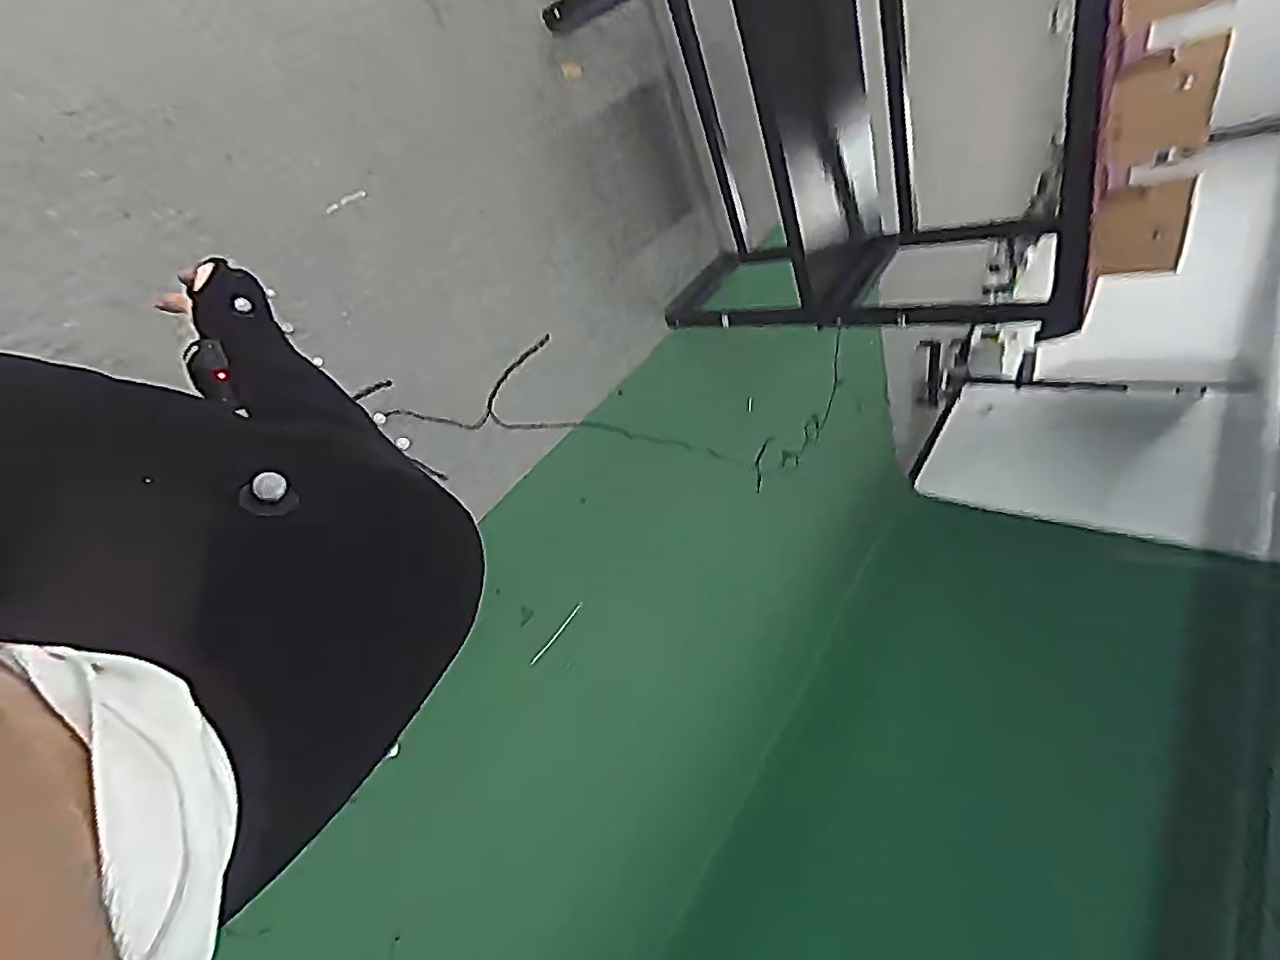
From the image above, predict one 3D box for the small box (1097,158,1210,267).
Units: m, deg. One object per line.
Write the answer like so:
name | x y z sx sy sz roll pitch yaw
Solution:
small box | 1.232 -0.638 1.306 0.168 0.176 0.179 -46 129 -27
